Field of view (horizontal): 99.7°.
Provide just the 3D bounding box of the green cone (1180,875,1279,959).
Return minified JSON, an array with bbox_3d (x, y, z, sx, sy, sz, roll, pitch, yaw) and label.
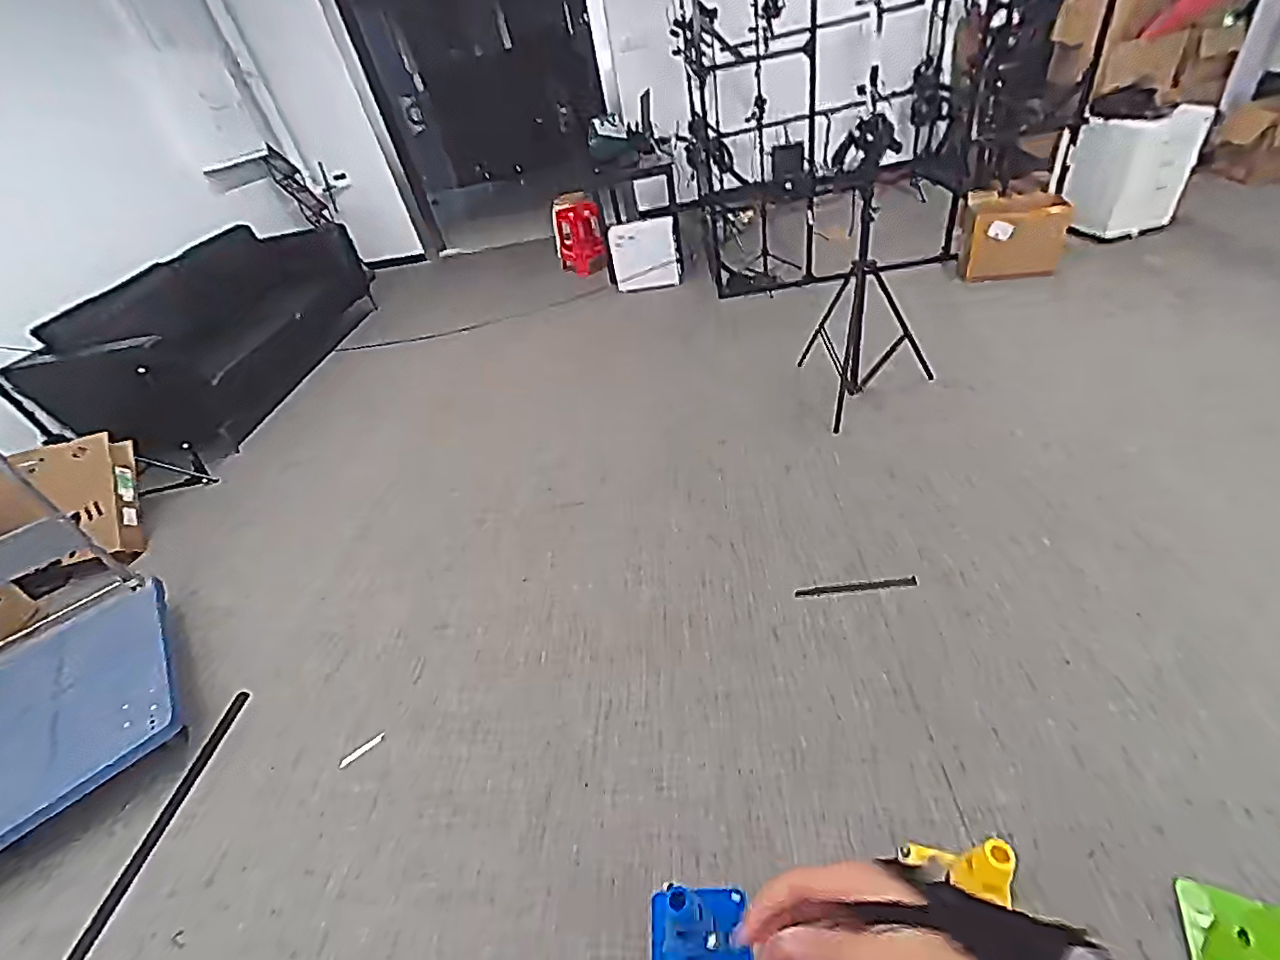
[{"bbox_3d":[1.040,0.693,0.817,0.200,0.368,0.202,7,44,24],"label":"green cone"}]
